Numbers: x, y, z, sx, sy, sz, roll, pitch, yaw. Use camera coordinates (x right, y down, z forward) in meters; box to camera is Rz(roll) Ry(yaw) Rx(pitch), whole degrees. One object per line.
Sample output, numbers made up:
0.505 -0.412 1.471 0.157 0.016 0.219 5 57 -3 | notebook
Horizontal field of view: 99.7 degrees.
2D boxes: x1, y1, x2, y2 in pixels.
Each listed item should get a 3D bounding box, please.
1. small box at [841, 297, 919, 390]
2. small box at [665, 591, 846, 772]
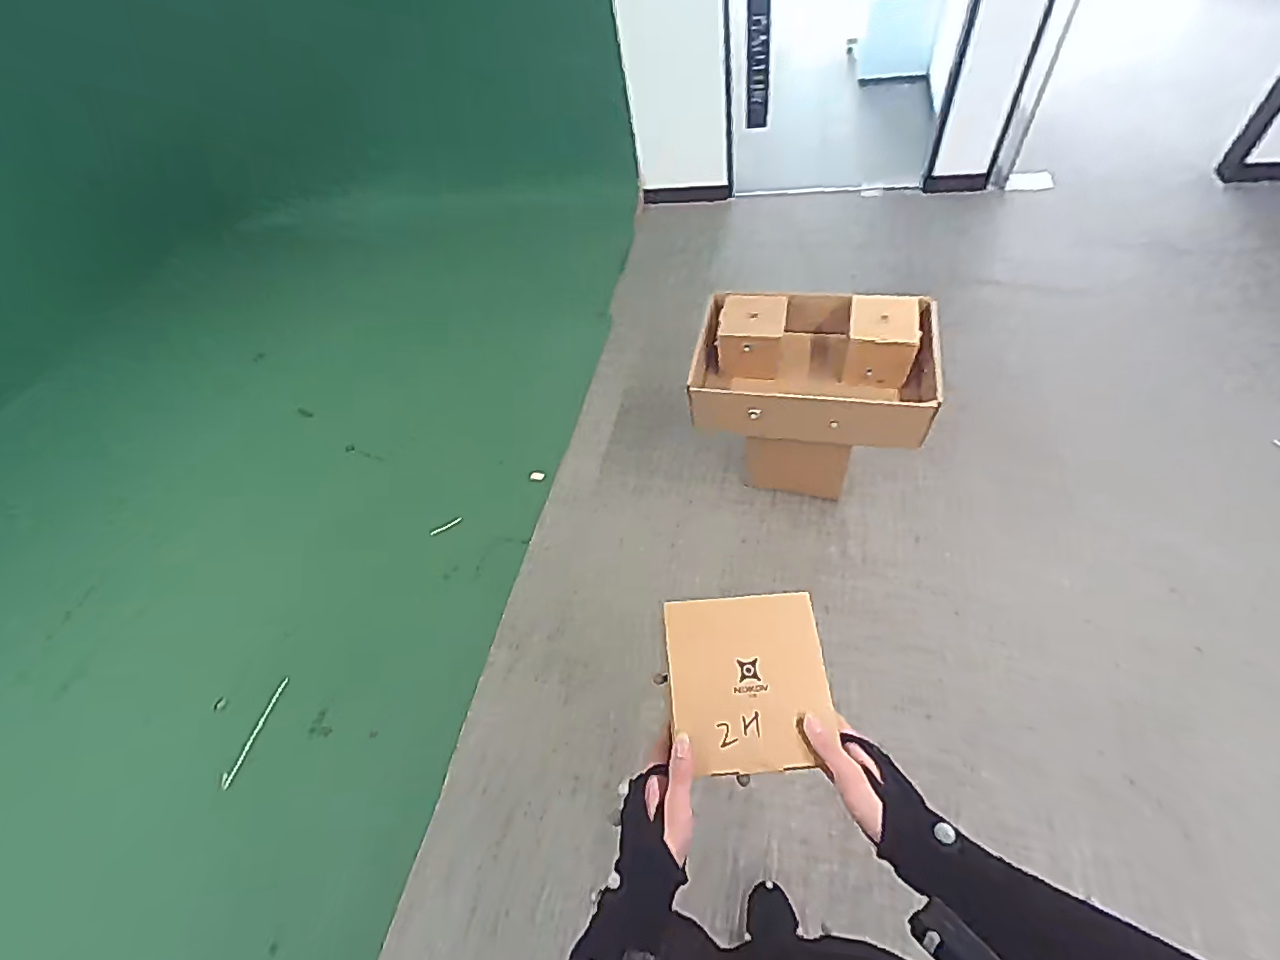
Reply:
0.650 -0.372 1.476 0.168 0.176 0.179 8 59 15 | small box
0.118 0.240 0.635 0.168 0.176 0.179 -3 64 -1 | small box
